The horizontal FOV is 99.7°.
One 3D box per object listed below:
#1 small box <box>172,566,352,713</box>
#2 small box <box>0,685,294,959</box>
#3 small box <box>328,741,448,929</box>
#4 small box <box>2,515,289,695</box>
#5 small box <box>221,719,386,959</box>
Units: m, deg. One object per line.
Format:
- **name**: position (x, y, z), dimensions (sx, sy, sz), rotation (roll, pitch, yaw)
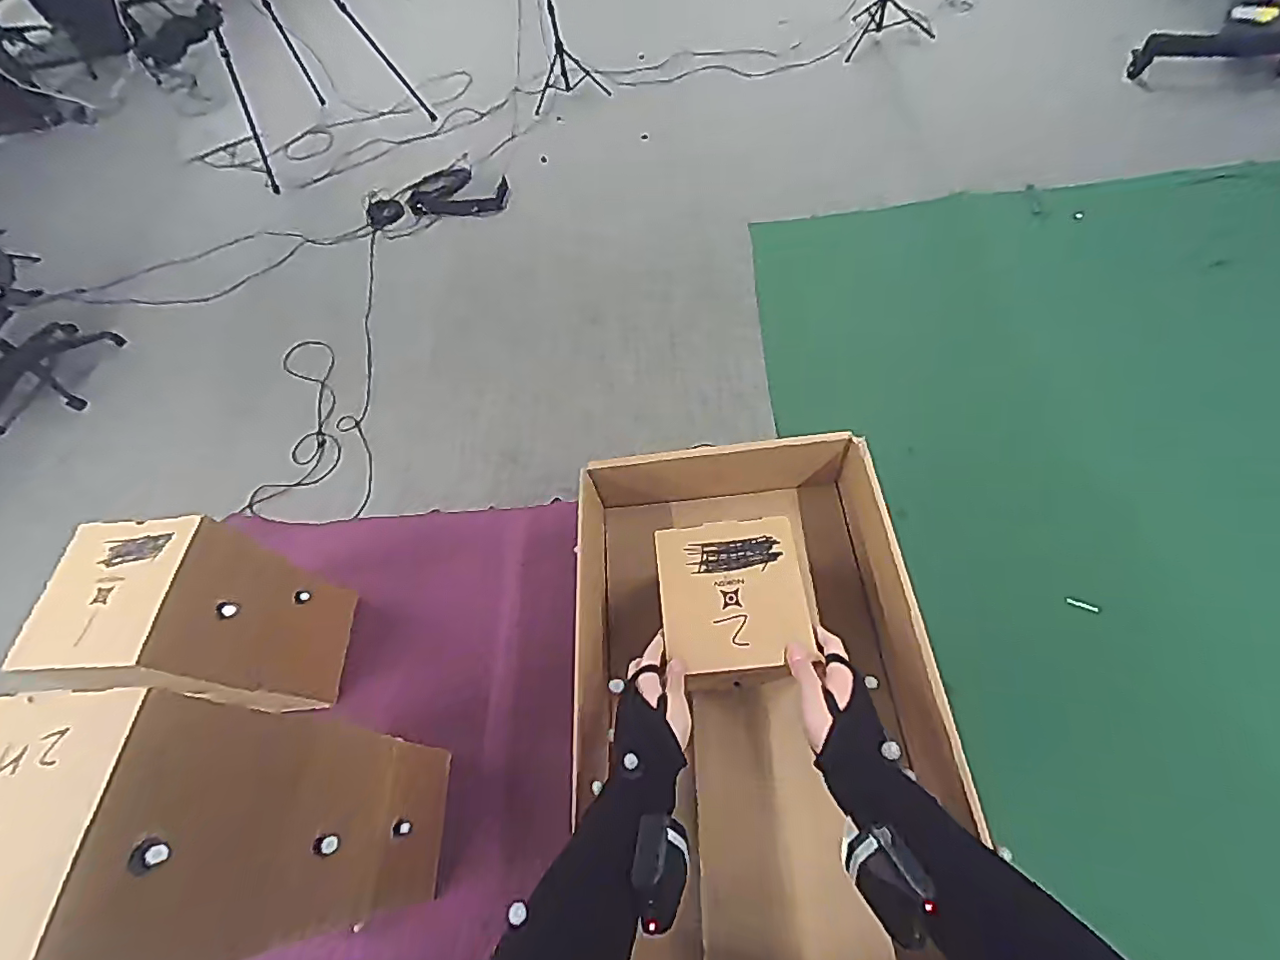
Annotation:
- **small box**: position (-0.566, 0.247, 0.810), dimensions (0.168, 0.176, 0.179), rotation (-7, 58, 5)
- **small box**: position (-0.395, 0.256, 0.391), dimensions (0.168, 0.176, 0.179), rotation (-4, 58, 5)
- **small box**: position (-0.357, 0.429, 0.668), dimensions (0.168, 0.176, 0.179), rotation (-5, 57, 5)
- **small box**: position (-0.581, 0.160, 0.671), dimensions (0.168, 0.176, 0.179), rotation (-4, 60, 7)
- **small box**: position (-0.378, 0.342, 0.531), dimensions (0.168, 0.176, 0.179), rotation (-5, 59, 4)
